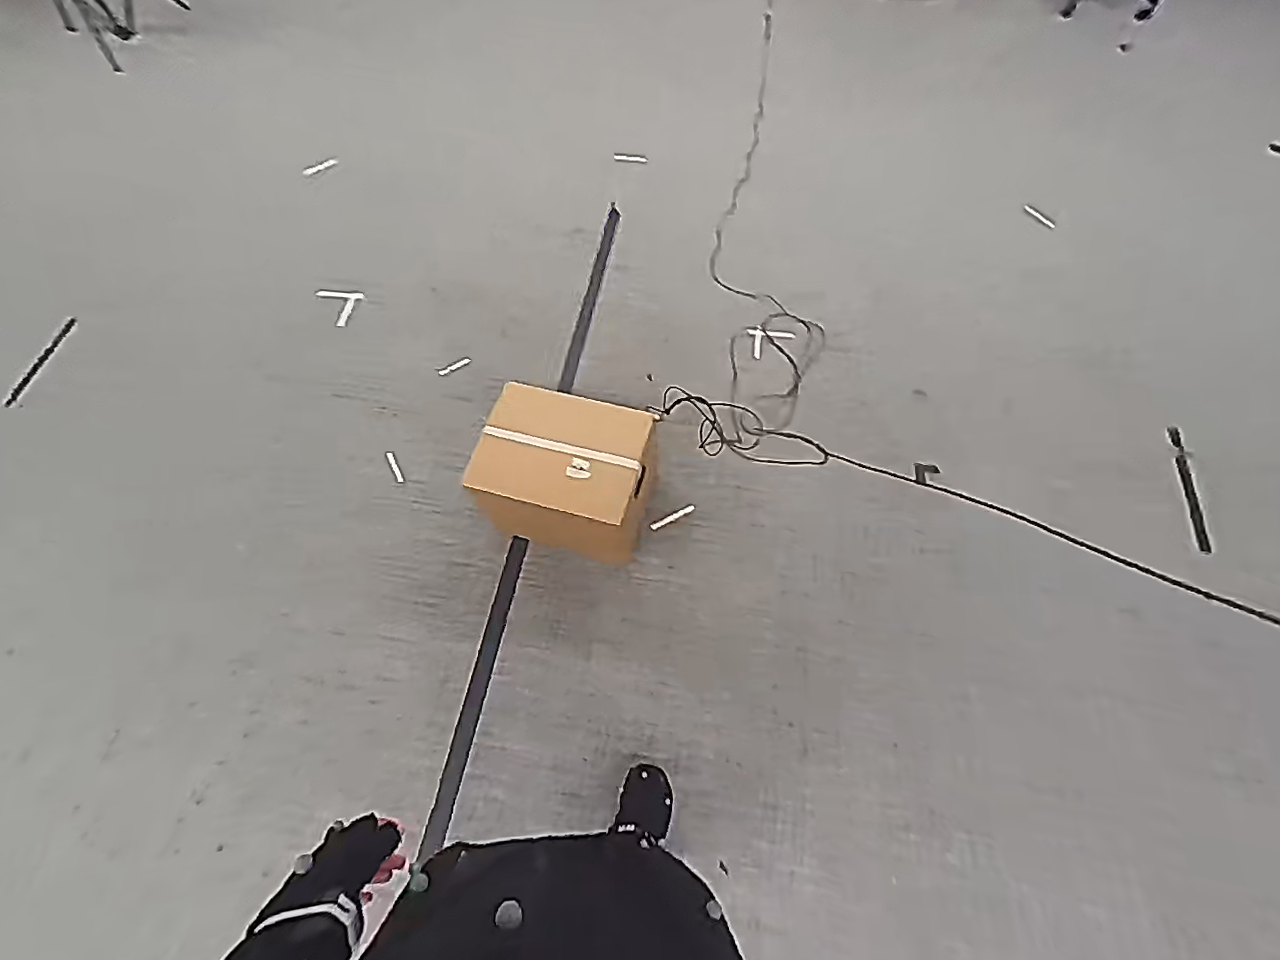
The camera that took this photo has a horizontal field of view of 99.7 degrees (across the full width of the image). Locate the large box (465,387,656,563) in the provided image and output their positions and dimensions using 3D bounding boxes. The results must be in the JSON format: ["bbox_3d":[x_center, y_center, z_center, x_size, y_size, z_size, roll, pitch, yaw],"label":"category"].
[{"bbox_3d":[-0.189,-0.006,1.463,0.408,0.320,0.320,14,65,8],"label":"large box"}]
